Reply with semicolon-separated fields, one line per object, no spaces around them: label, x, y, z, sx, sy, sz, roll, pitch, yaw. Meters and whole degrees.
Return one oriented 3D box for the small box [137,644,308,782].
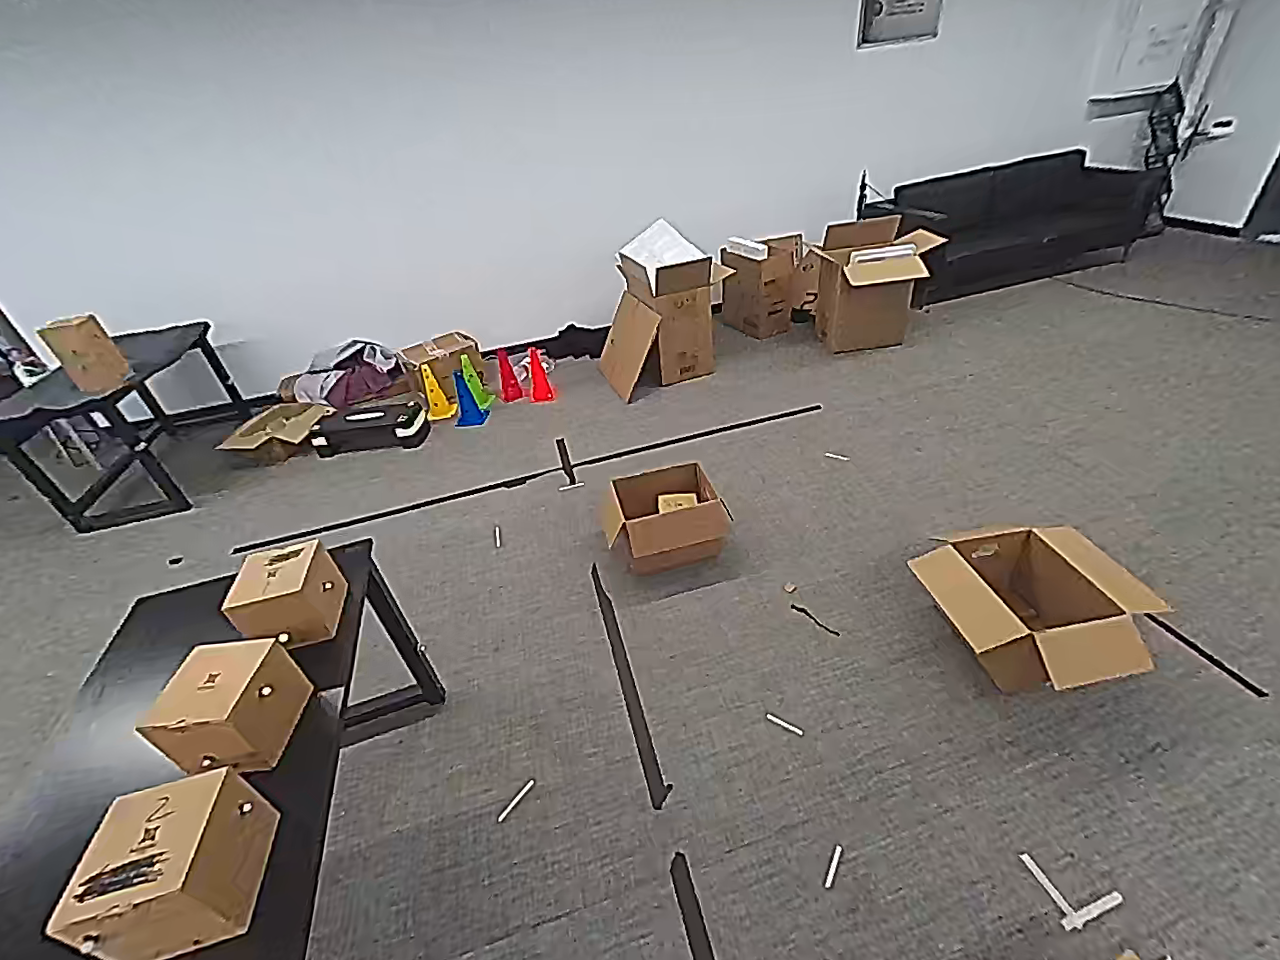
small box;-0.777;0.444;1.036;0.168;0.176;0.179;-8;36;2

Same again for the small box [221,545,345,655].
small box;-0.818;0.284;1.263;0.168;0.176;0.179;-14;37;-7
